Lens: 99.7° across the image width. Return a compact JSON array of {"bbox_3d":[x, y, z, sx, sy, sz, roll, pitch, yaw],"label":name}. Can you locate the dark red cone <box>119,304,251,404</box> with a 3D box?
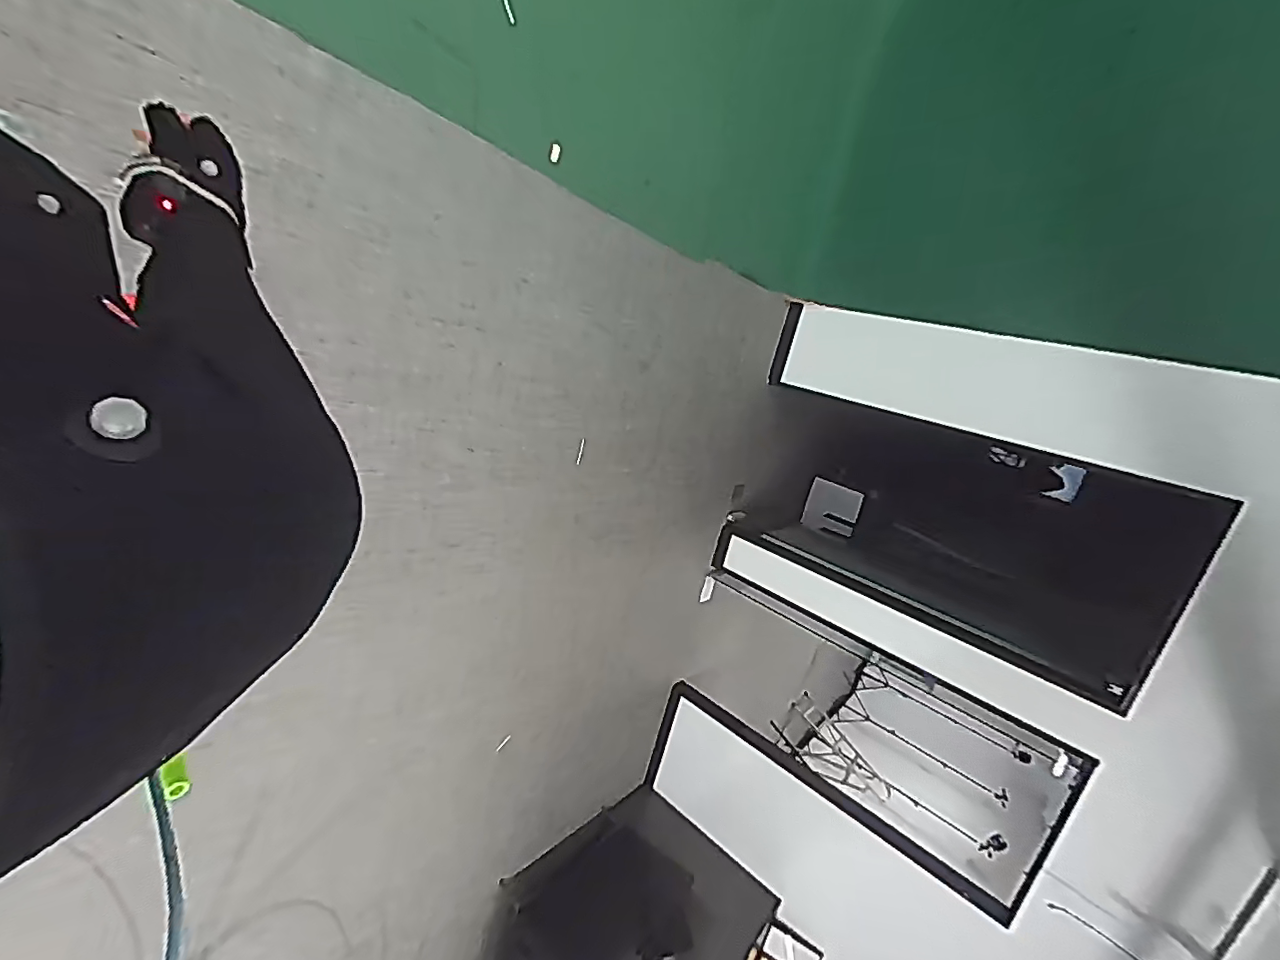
[{"bbox_3d":[-0.830,-0.208,1.039,0.202,0.394,0.201,-10,116,-49],"label":"dark red cone"}]
